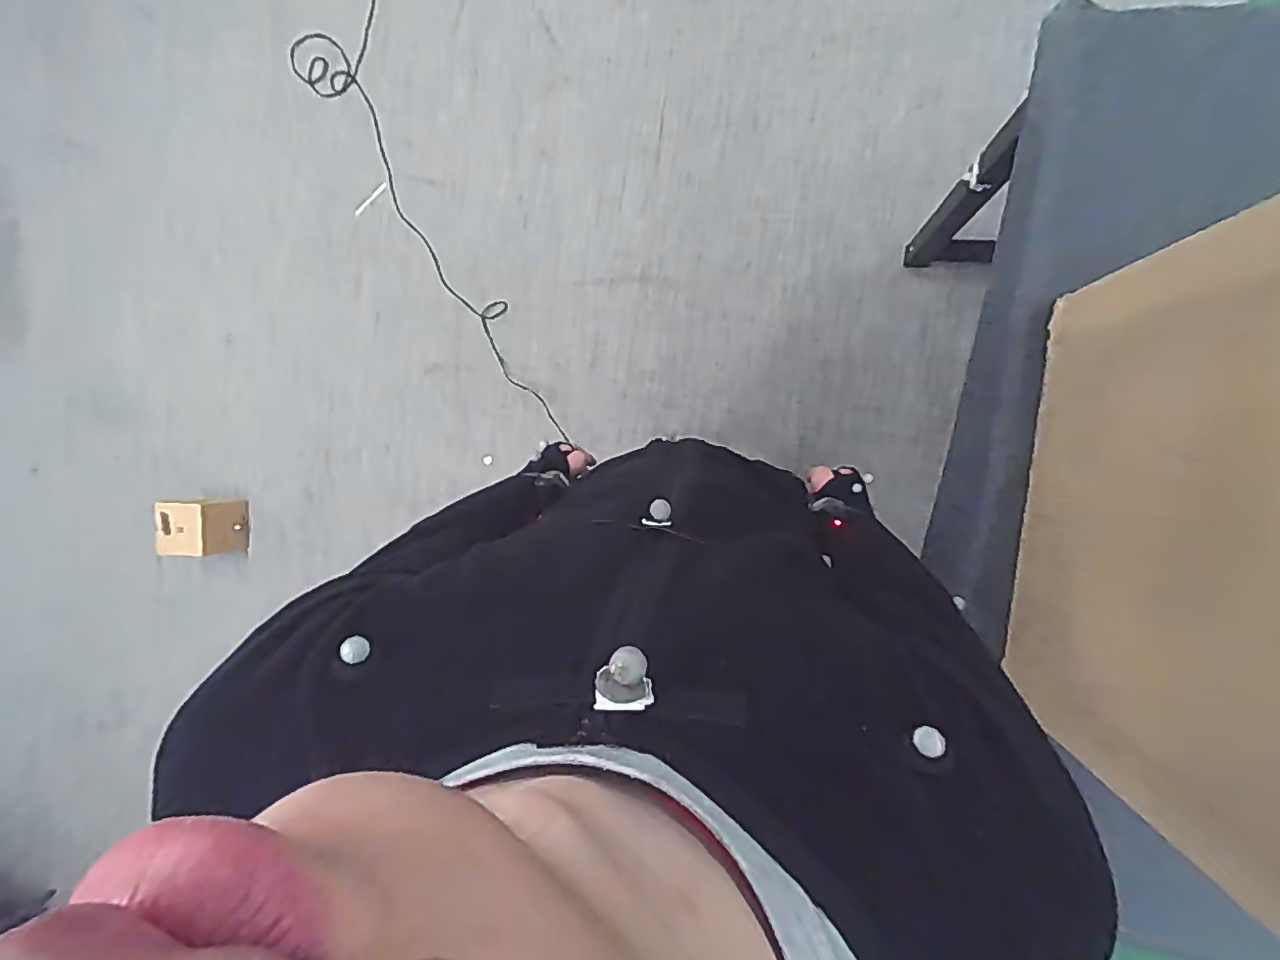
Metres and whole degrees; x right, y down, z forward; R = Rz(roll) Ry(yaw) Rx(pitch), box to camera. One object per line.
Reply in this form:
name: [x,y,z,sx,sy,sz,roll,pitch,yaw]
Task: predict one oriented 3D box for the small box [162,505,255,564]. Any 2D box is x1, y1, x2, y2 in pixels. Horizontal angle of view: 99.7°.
small box: [-1.402,0.172,1.761,0.179,0.176,0.168,1,94,10]
